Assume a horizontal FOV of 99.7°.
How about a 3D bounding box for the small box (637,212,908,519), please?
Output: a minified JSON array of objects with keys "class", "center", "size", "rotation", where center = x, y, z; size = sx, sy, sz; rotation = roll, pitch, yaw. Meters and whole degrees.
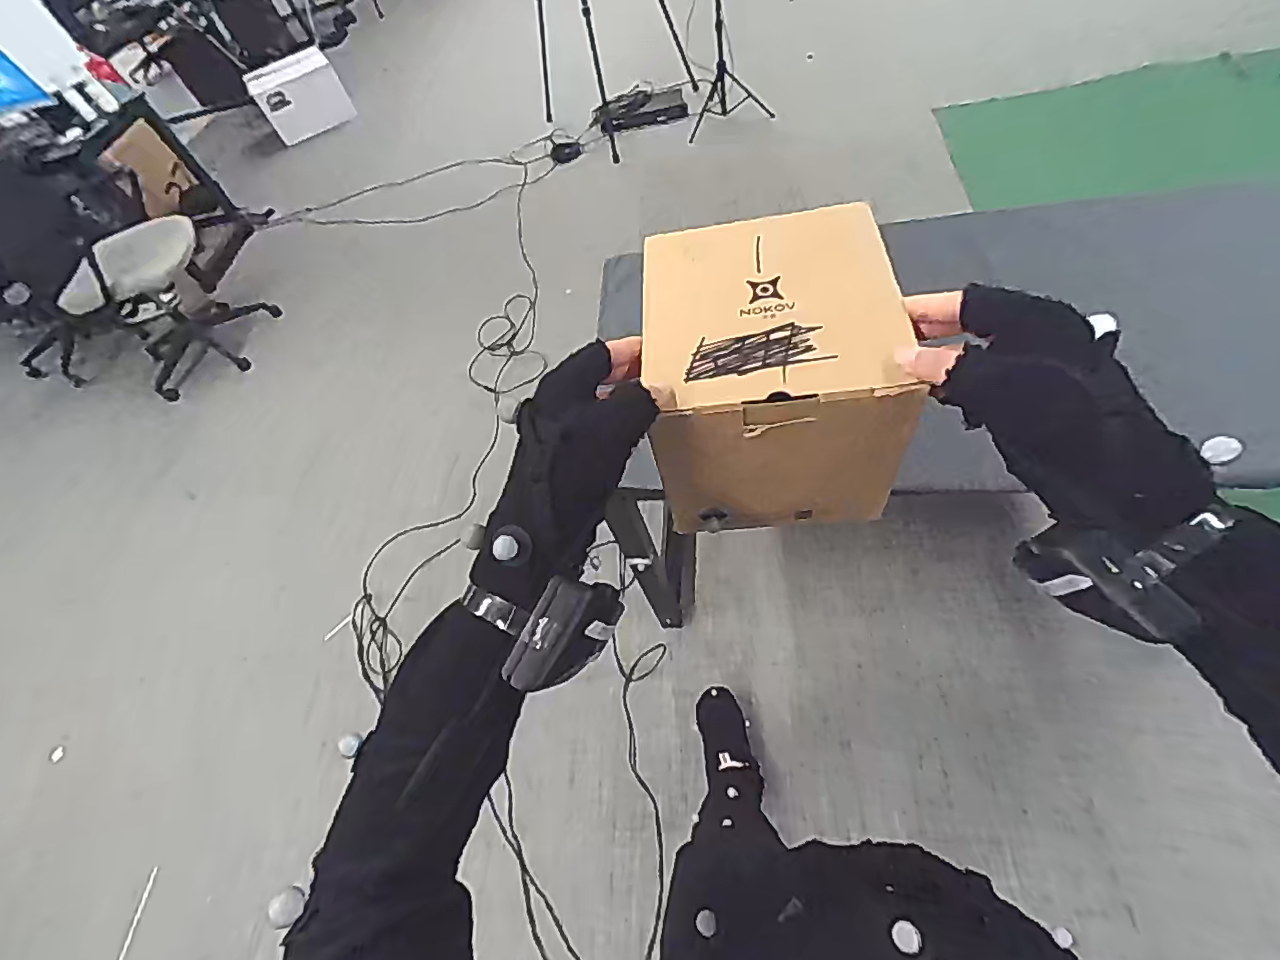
[{"class":"small box","center":[0.096,-0.077,0.436],"size":[0.168,0.176,0.179],"rotation":[-4,57,10]}]
